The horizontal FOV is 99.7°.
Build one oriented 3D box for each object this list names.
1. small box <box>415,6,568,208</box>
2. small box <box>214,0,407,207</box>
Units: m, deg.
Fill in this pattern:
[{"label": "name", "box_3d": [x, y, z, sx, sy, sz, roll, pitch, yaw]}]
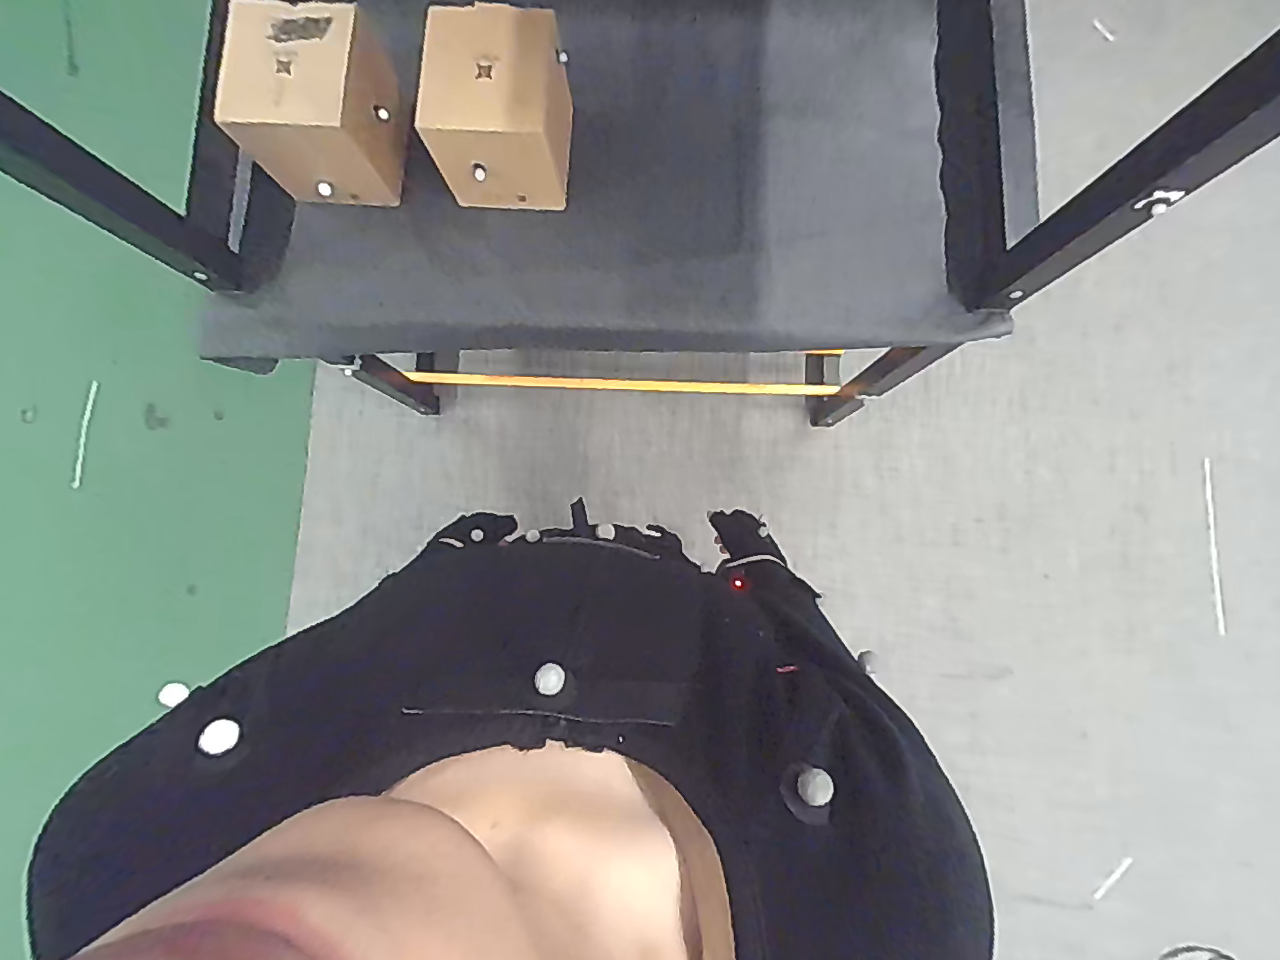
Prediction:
[{"label": "small box", "box_3d": [-0.197, -0.514, 0.767, 0.168, 0.176, 0.179, 3, 83, 1]}, {"label": "small box", "box_3d": [-0.450, -0.524, 0.768, 0.168, 0.176, 0.179, 3, 84, 1]}]
